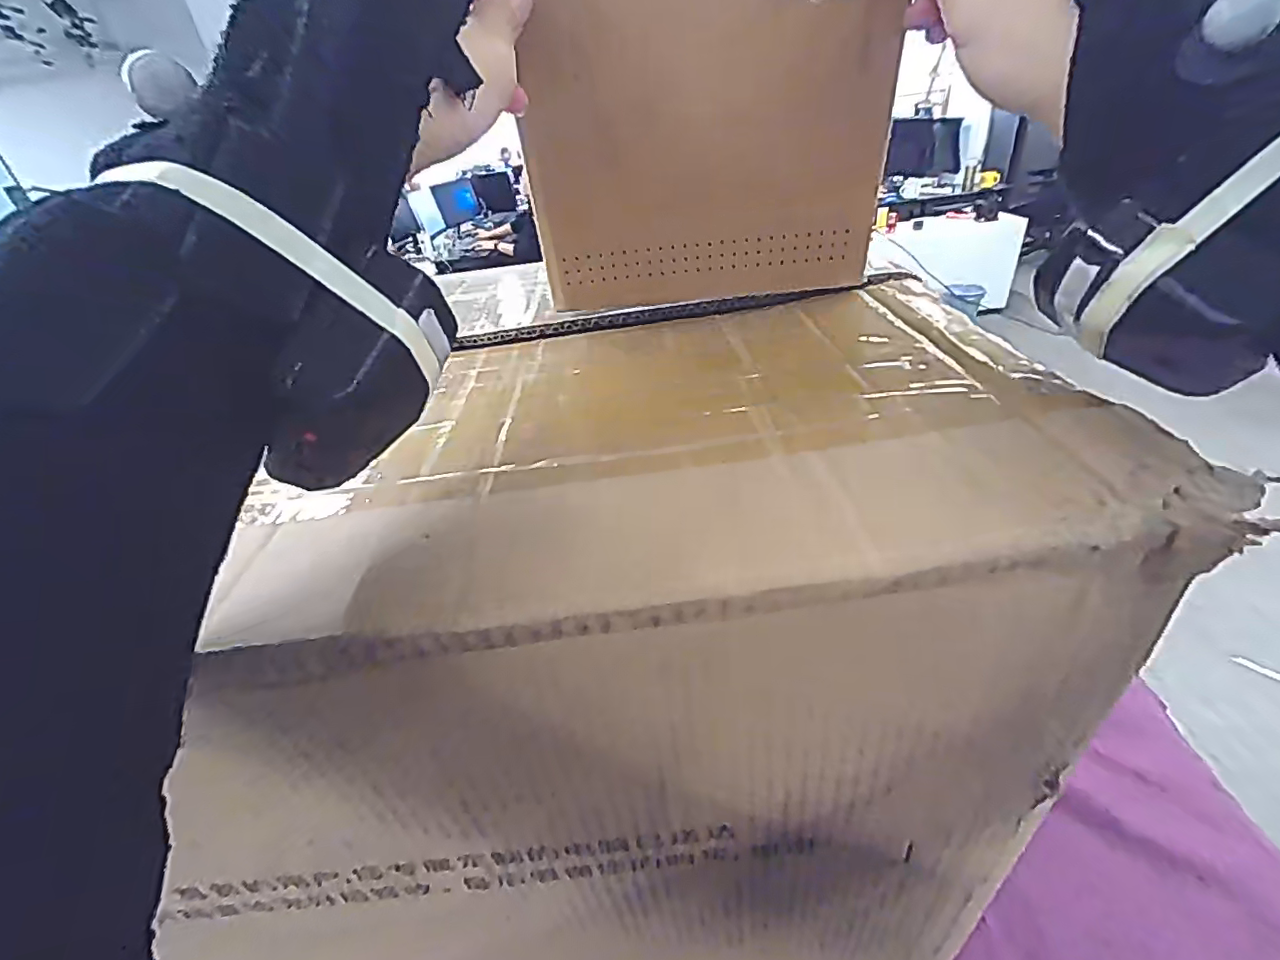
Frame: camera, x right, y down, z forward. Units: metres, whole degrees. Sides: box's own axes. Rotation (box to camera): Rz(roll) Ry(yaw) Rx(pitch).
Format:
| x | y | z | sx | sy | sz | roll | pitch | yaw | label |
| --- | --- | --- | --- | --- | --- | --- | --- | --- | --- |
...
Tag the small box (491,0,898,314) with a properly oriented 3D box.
| x | y | z | sx | sy | sz | roll | pitch | yaw | label |
| --- | --- | --- | --- | --- | --- | --- | --- | --- | --- |
| 0.029 | -0.207 | 0.308 | 0.179 | 0.176 | 0.168 | -4 | 42 | 3 | small box |
